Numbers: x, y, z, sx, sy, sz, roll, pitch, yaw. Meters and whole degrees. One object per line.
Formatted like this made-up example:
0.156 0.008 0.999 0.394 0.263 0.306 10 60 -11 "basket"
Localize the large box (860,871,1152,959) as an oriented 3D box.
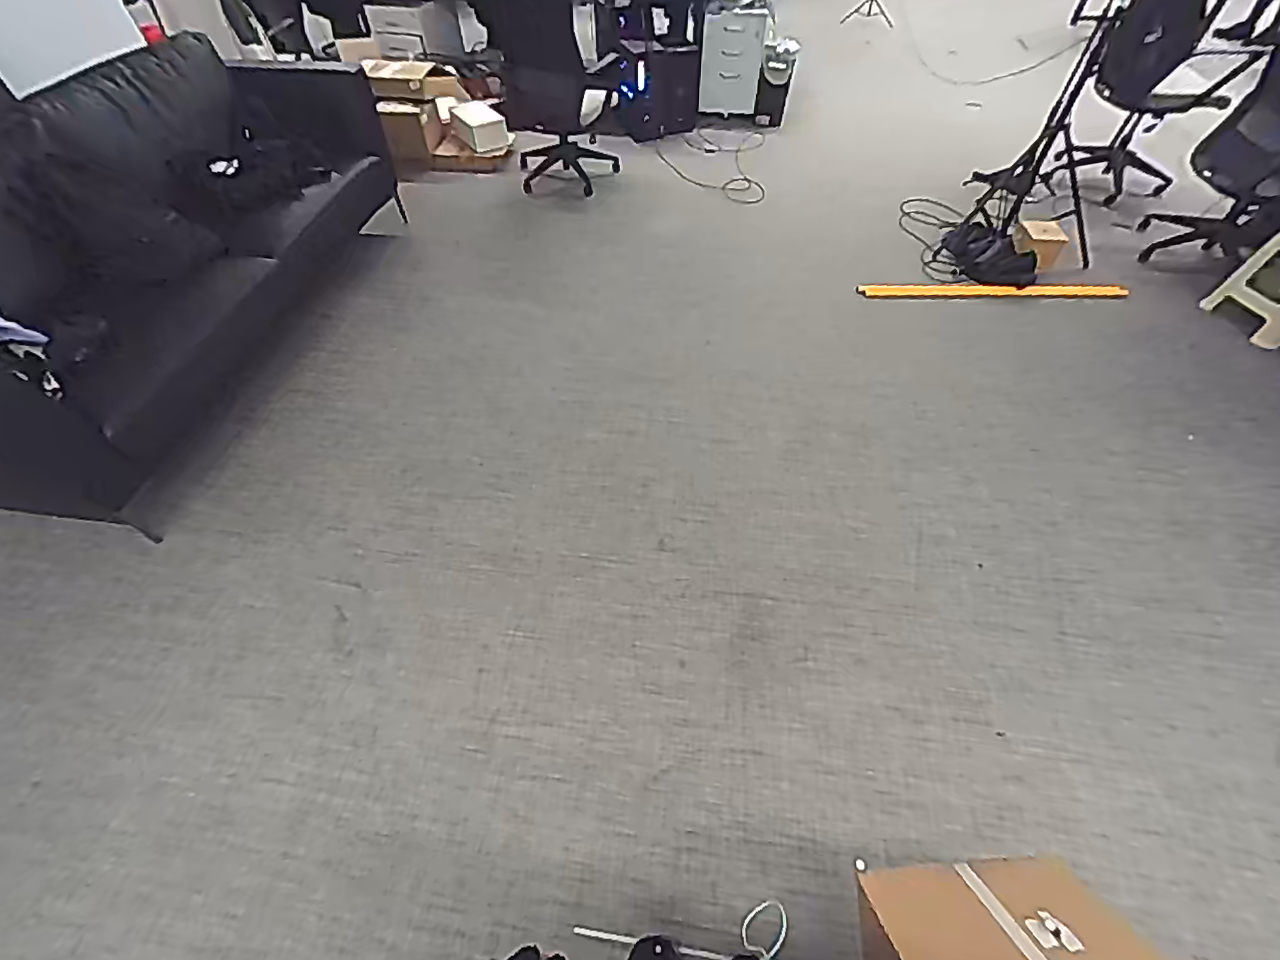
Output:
0.503 0.761 0.631 0.320 0.408 0.320 -4 90 0 "large box"
